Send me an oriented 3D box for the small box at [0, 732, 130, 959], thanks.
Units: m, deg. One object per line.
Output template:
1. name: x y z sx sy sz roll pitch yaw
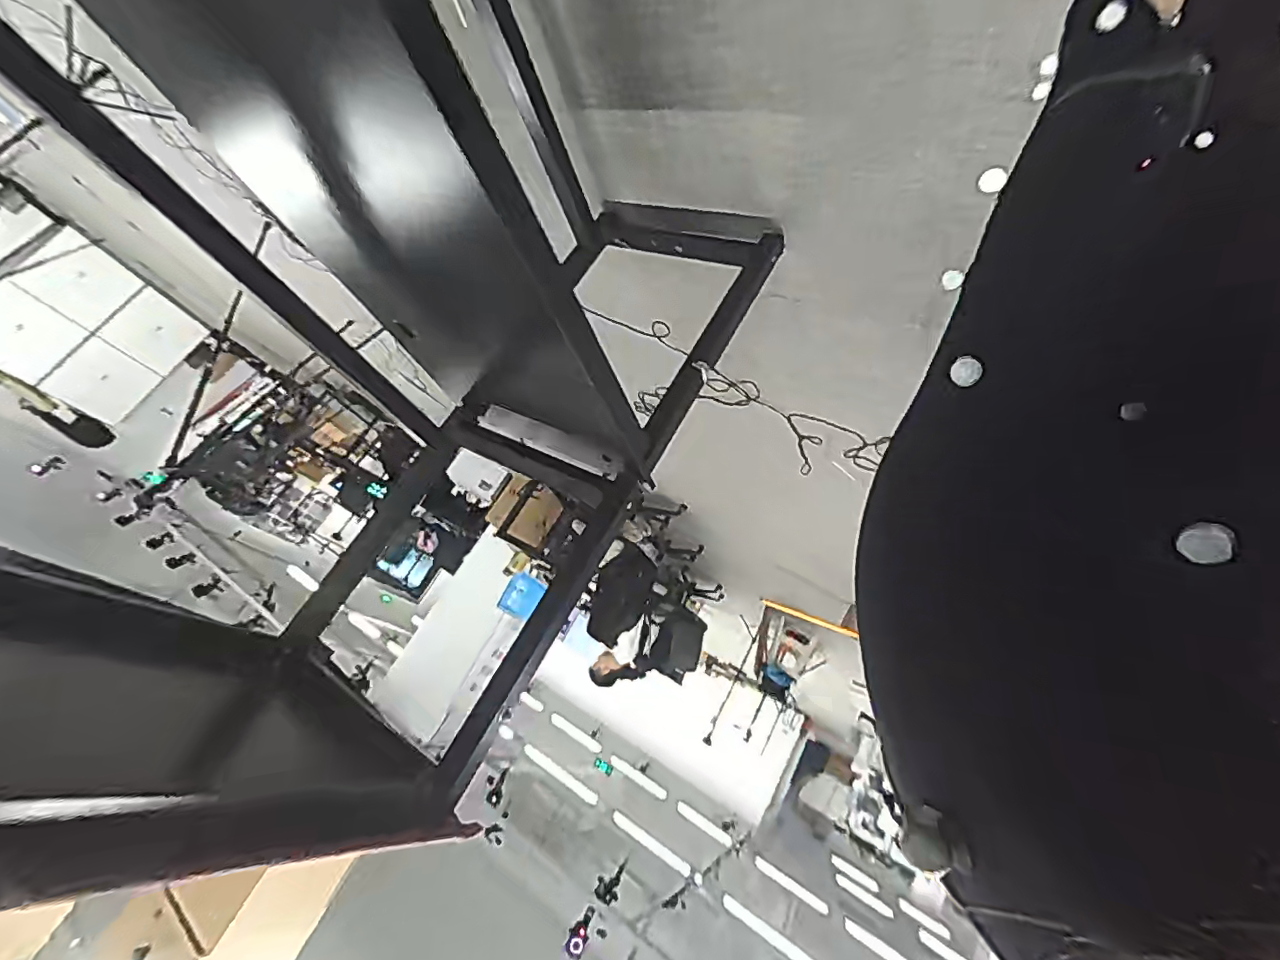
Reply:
1. small box: -0.669 0.363 0.524 0.168 0.176 0.179 24 161 27

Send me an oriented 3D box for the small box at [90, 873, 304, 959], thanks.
1. small box: -0.622 0.675 0.758 0.168 0.176 0.179 20 160 31
